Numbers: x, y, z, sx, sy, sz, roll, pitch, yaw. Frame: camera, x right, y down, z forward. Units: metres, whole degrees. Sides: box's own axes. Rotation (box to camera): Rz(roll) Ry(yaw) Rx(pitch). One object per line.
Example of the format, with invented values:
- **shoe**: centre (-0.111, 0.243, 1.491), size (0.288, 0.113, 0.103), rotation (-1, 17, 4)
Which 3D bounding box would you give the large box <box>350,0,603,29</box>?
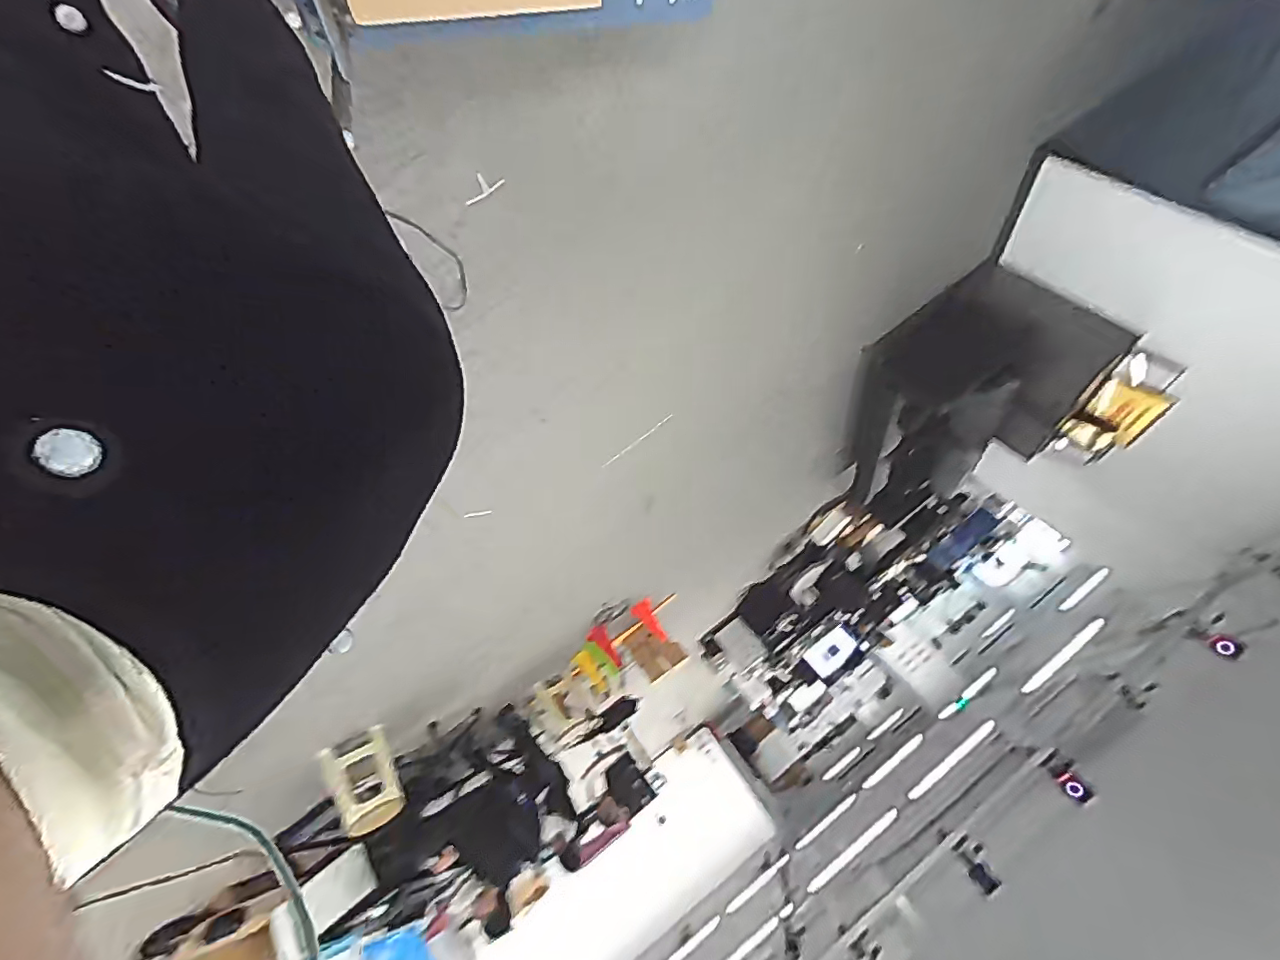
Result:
- **large box**: centre (-0.301, -0.949, 0.834), size (0.408, 0.320, 0.320), rotation (-18, 146, -15)
